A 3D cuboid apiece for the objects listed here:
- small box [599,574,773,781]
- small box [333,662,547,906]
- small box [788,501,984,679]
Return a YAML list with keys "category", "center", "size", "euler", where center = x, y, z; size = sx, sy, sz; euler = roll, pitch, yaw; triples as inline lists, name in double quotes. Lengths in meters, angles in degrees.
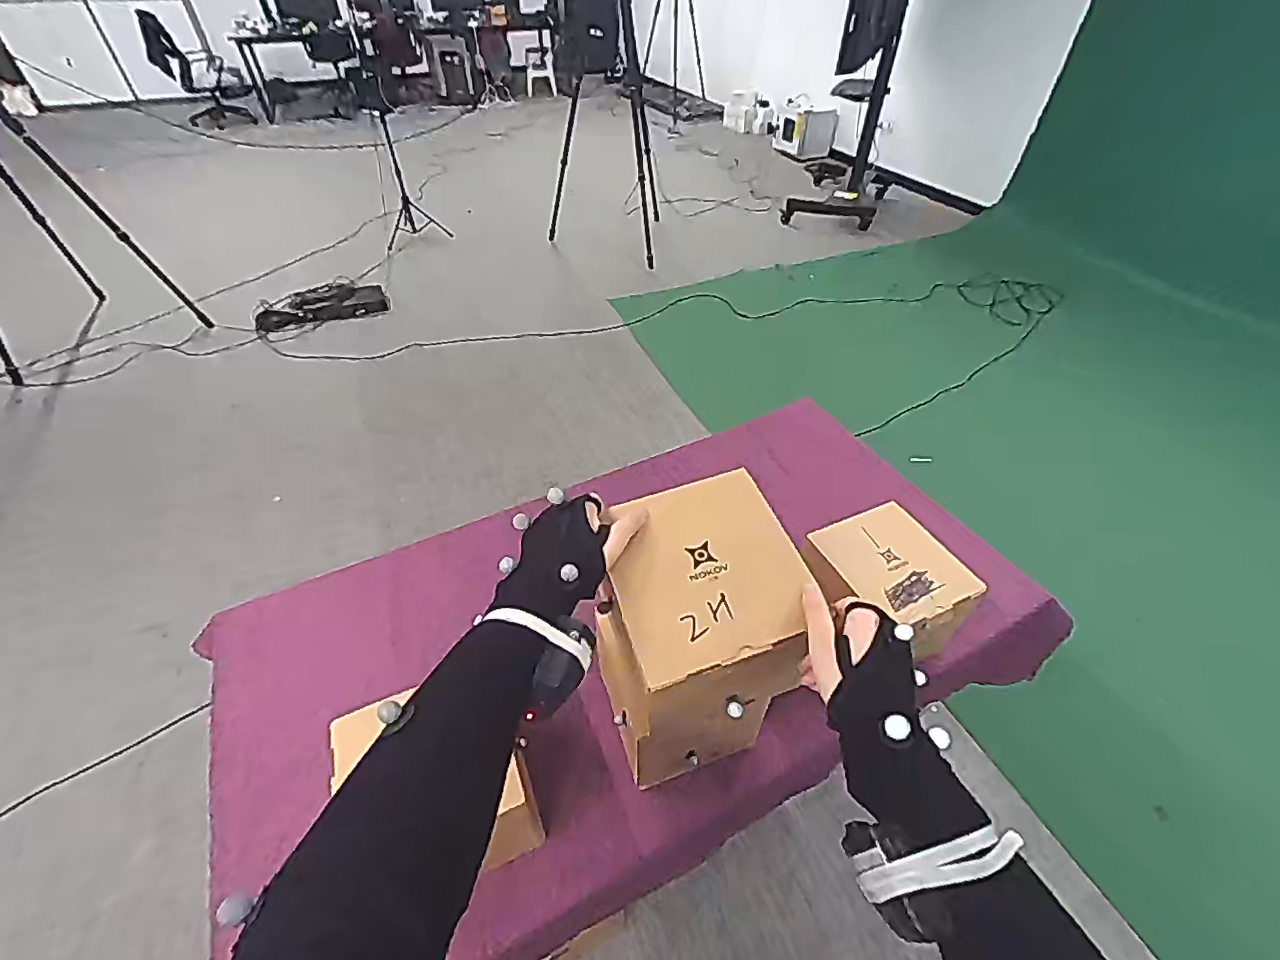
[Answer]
- category: "small box"
  center: [0.048, 0.257, 0.708]
  size: [0.168, 0.176, 0.179]
  euler: [-14, 48, -13]
- category: "small box"
  center: [-0.221, 0.347, 0.616]
  size: [0.179, 0.176, 0.168]
  euler: [-18, 49, -16]
- category: "small box"
  center: [0.344, 0.167, 0.793]
  size: [0.168, 0.176, 0.179]
  euler: [-18, 47, -17]
